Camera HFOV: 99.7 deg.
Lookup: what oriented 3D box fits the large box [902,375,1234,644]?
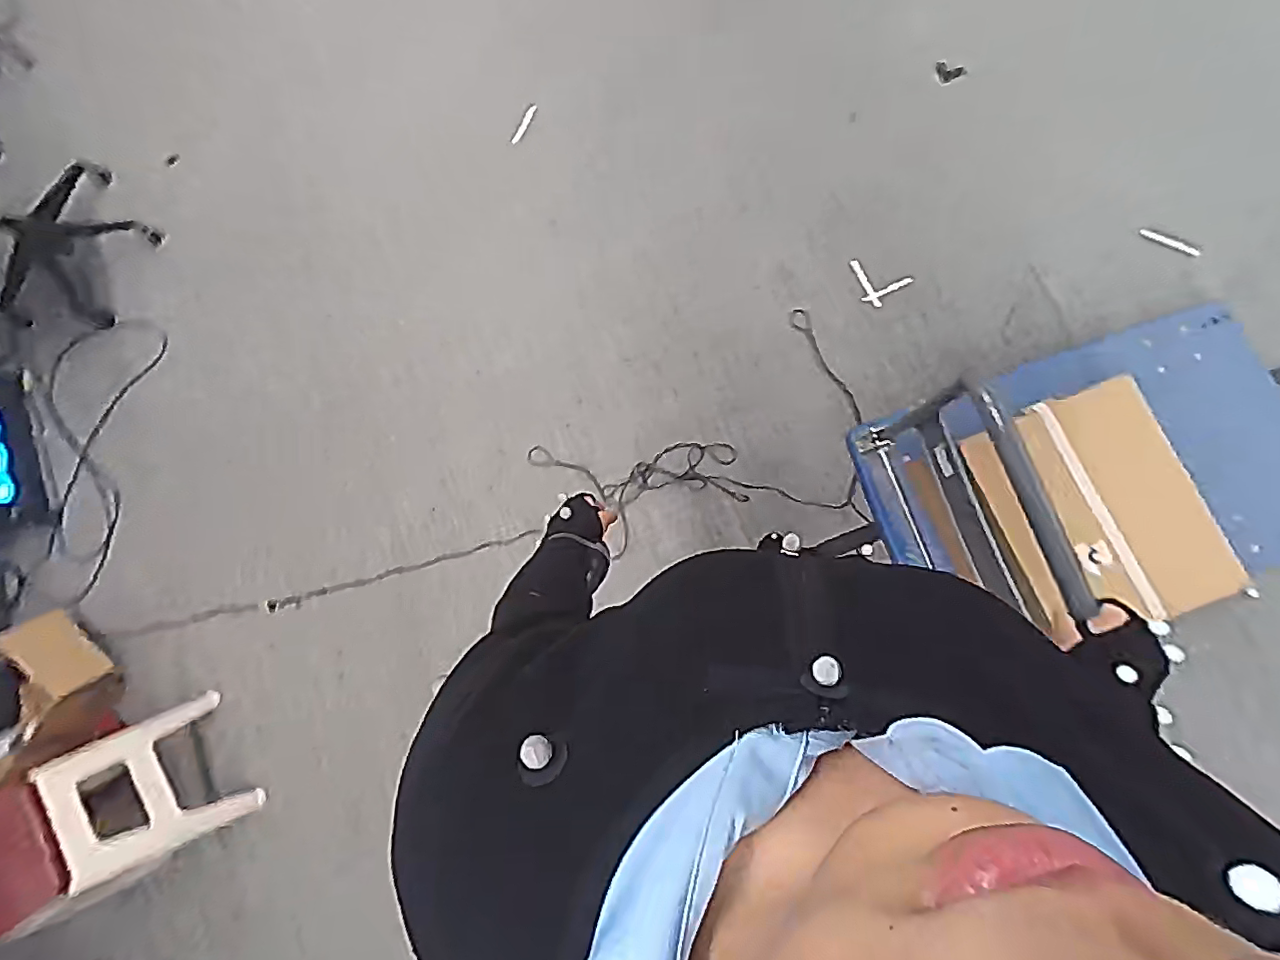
[{"bbox_3d":[0.814,0.061,1.104,0.320,0.320,0.408,-24,82,7],"label":"large box"}]
